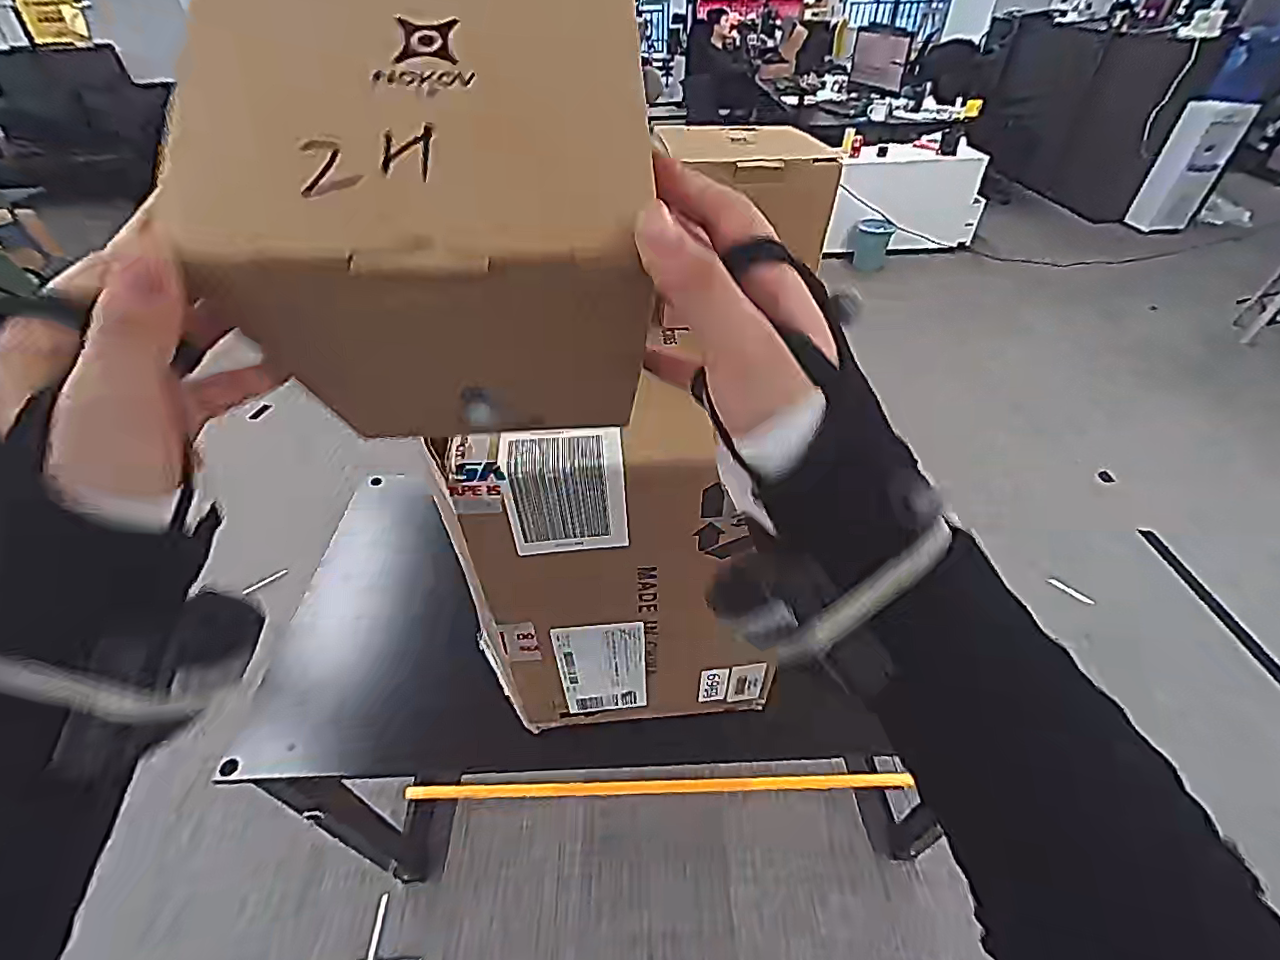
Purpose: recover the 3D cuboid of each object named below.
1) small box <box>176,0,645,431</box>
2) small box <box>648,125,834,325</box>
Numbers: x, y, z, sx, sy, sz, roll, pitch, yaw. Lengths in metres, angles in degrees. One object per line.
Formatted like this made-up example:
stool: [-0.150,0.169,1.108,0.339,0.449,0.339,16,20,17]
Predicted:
small box: [-0.091,-0.140,0.294,0.168,0.176,0.179,-3,73,-5]
small box: [0.098,-0.290,0.619,0.168,0.176,0.179,-2,43,-4]
